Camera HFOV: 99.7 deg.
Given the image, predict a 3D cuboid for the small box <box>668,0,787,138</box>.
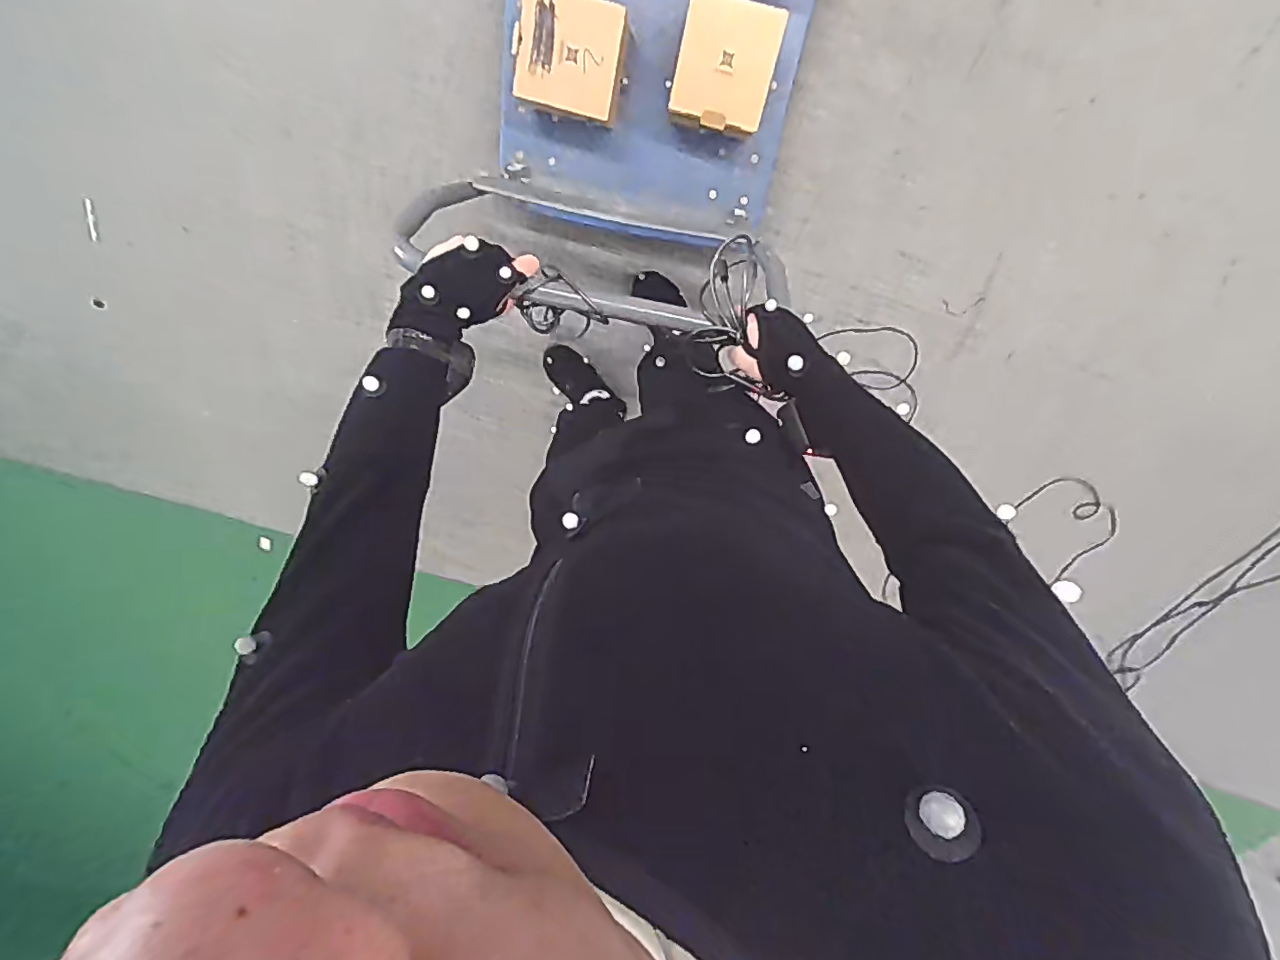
[{"bbox_3d":[0.148,-0.749,0.989,0.168,0.176,0.179,12,120,-3],"label":"small box"}]
